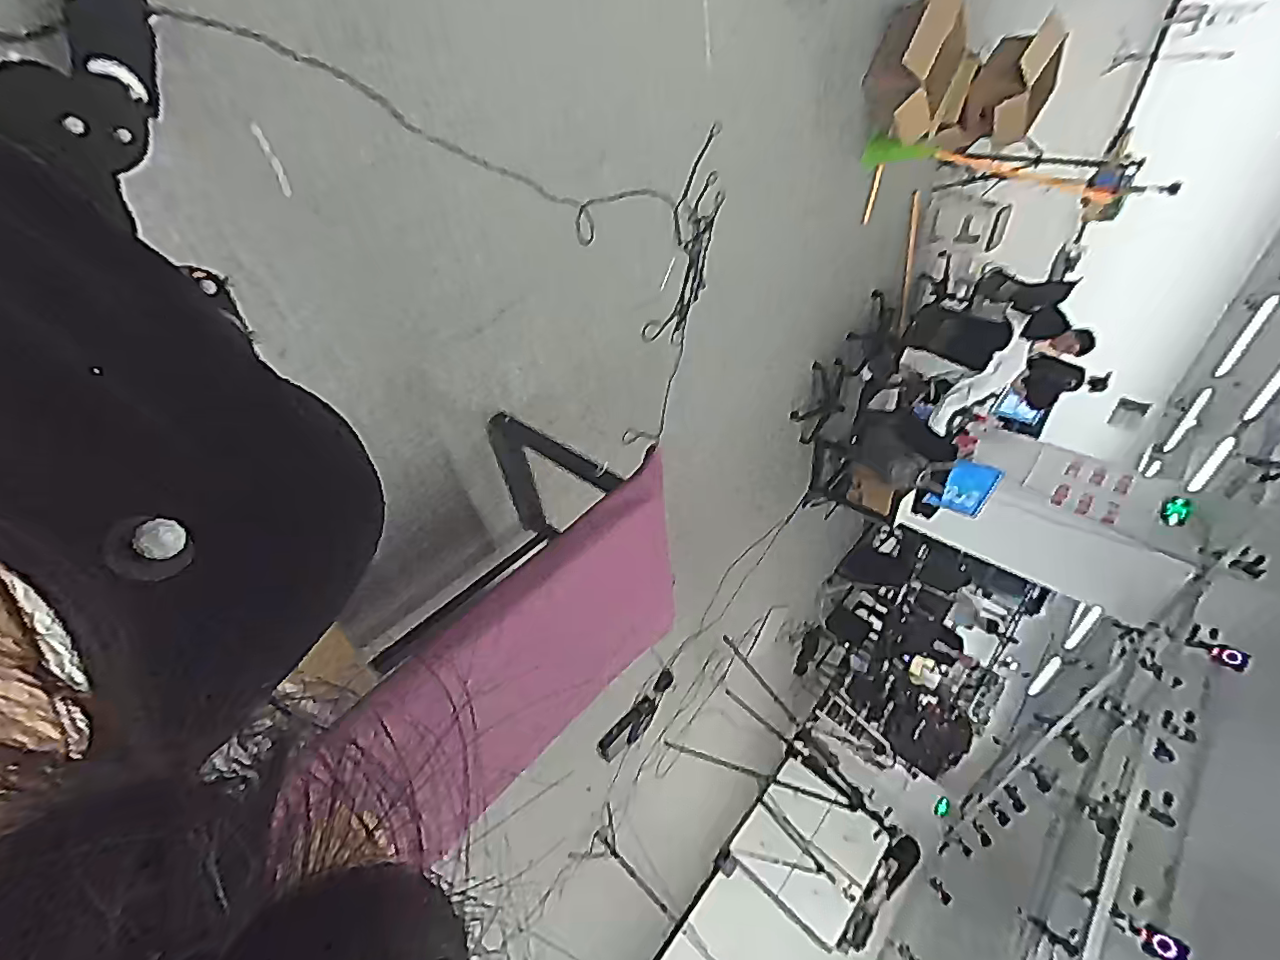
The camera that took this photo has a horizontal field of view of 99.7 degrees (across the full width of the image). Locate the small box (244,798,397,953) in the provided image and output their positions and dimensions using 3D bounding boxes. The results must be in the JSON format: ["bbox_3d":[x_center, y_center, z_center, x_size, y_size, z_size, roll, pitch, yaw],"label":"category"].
[{"bbox_3d":[-0.578,0.731,0.997,0.168,0.176,0.179,-40,141,-31],"label":"small box"}]

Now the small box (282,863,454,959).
[{"bbox_3d":[-0.454,0.794,0.913,0.168,0.176,0.179,-42,143,-29],"label":"small box"}]
